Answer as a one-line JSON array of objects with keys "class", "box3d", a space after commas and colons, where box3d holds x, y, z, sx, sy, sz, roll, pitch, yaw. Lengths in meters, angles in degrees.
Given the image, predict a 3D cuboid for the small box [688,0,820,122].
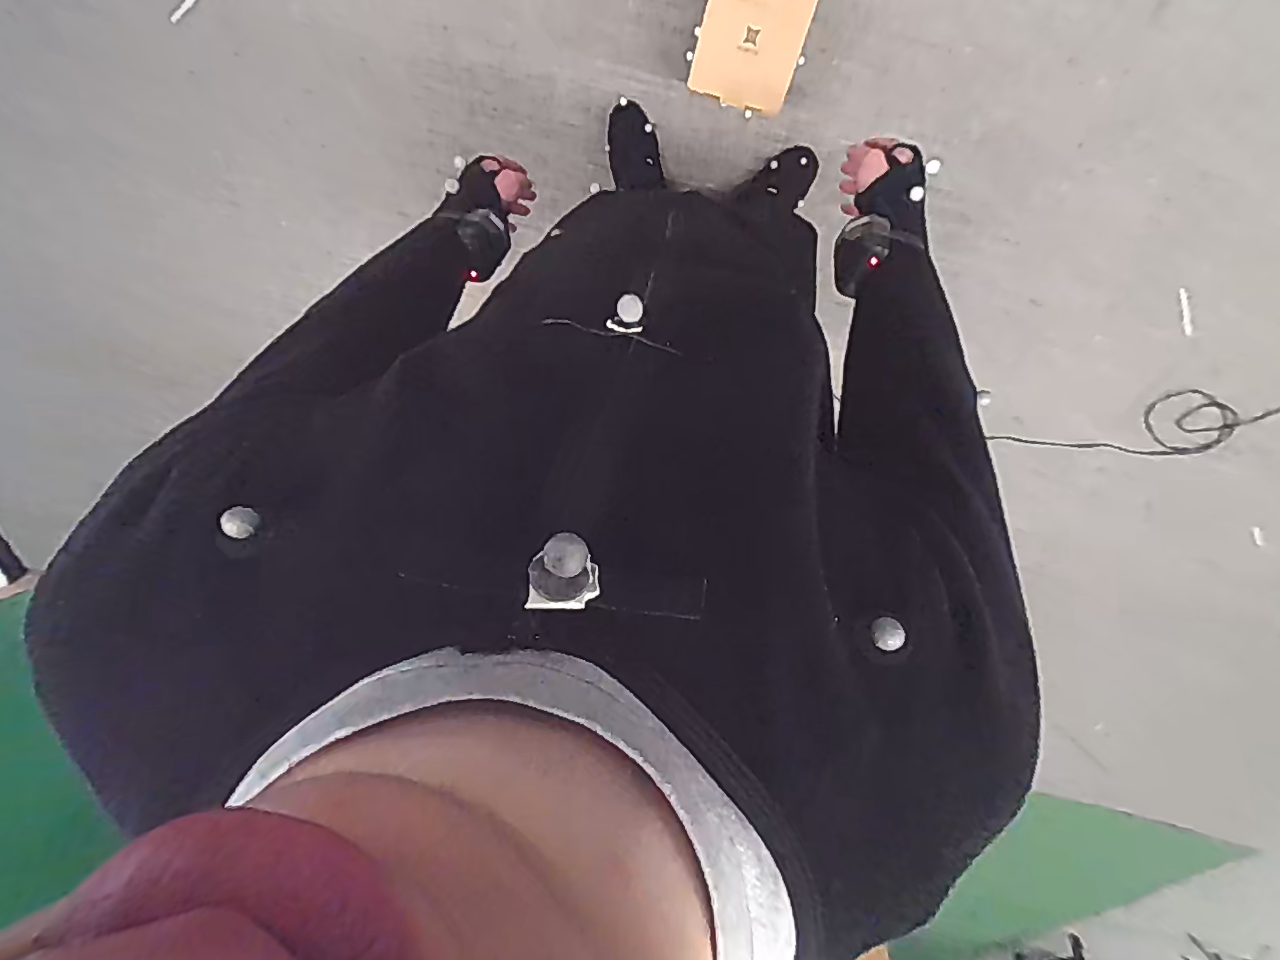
[{"class": "small box", "box3d": [0.189, -0.746, 0.934, 0.168, 0.176, 0.179, 14, 126, -3]}]
